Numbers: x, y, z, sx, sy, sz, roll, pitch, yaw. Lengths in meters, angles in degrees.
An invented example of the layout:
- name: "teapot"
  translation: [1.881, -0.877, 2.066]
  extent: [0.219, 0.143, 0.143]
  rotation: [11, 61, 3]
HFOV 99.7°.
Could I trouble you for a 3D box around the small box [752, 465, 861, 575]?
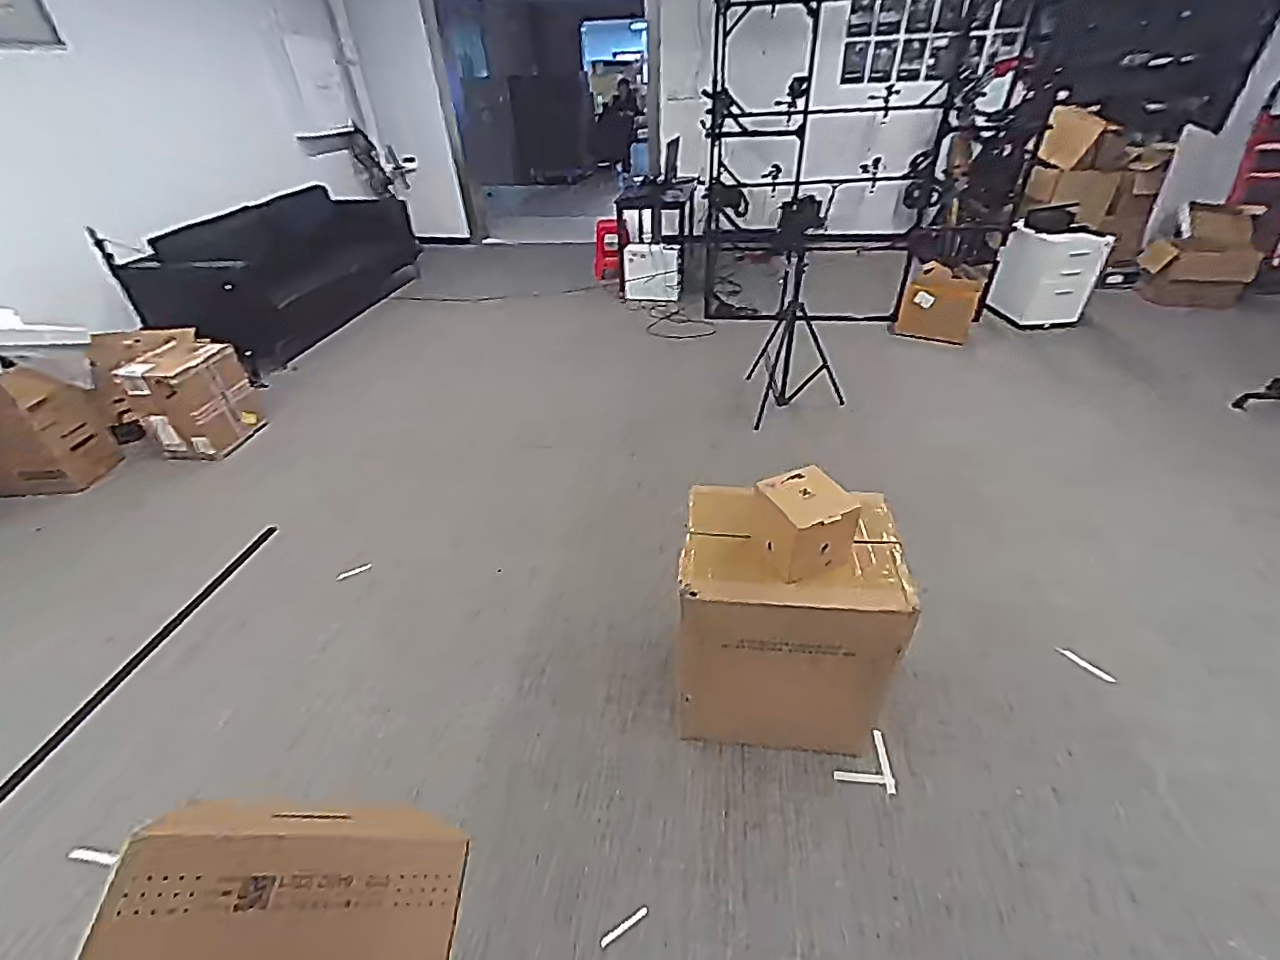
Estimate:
- name: "small box"
  translation: [0.375, 0.097, 1.249]
  extent: [0.168, 0.176, 0.179]
  rotation: [-16, 40, -16]
